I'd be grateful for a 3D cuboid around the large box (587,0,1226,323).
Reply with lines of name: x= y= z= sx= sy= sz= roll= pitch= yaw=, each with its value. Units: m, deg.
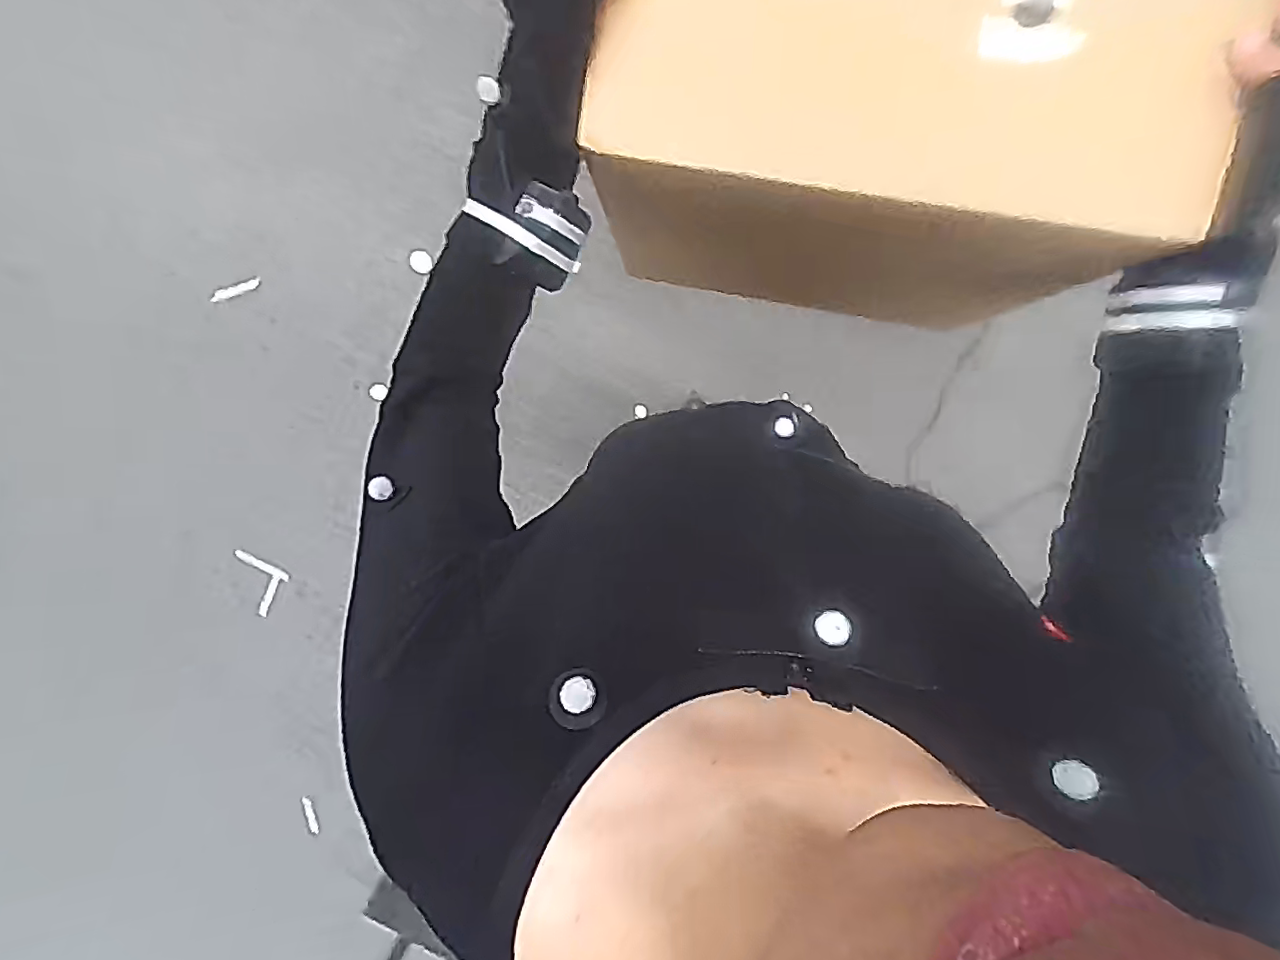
large box: x=0.188 y=-0.357 z=0.505 sx=0.408 sy=0.320 sz=0.320 roll=10 pitch=96 yaw=3
